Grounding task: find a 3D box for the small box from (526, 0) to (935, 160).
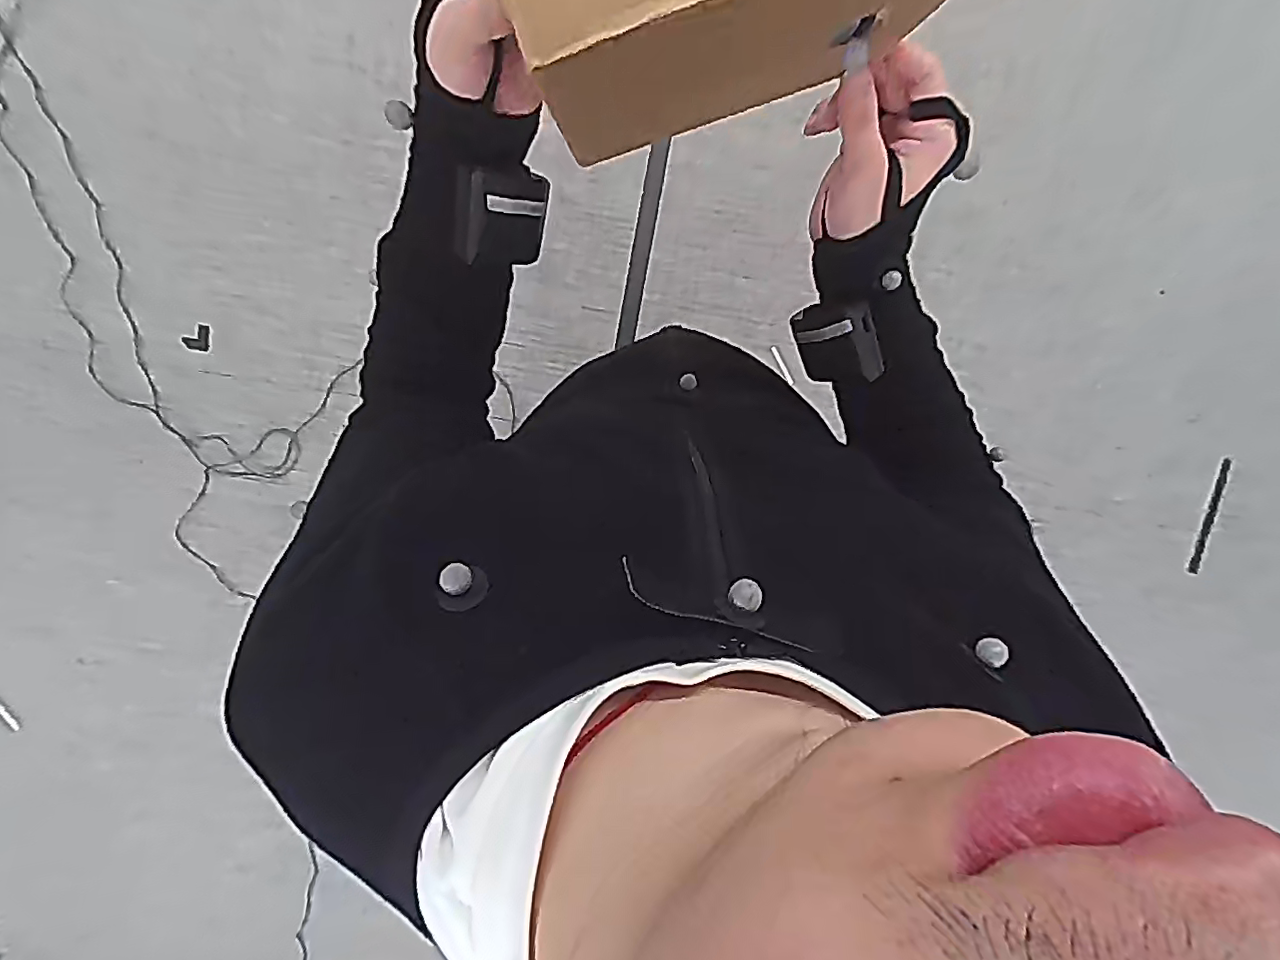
[{"bbox_3d":[0.028,-0.259,0.219,0.179,0.176,0.168,-17,109,6],"label":"small box"}]
